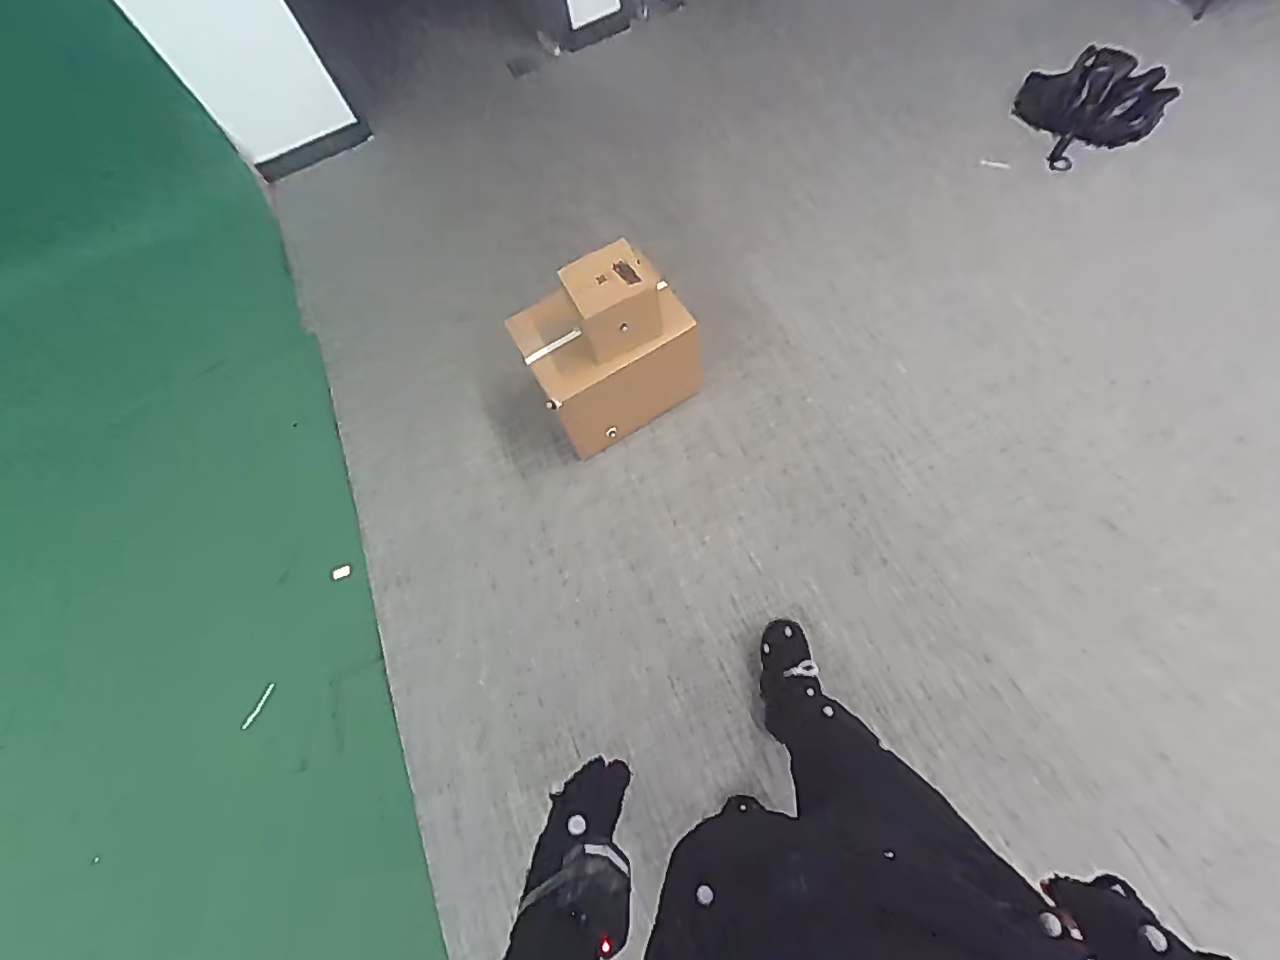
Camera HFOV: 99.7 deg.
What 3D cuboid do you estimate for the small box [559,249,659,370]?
[{"bbox_3d":[-0.064,-0.396,1.273,0.179,0.176,0.168,-27,66,-3],"label":"small box"}]
